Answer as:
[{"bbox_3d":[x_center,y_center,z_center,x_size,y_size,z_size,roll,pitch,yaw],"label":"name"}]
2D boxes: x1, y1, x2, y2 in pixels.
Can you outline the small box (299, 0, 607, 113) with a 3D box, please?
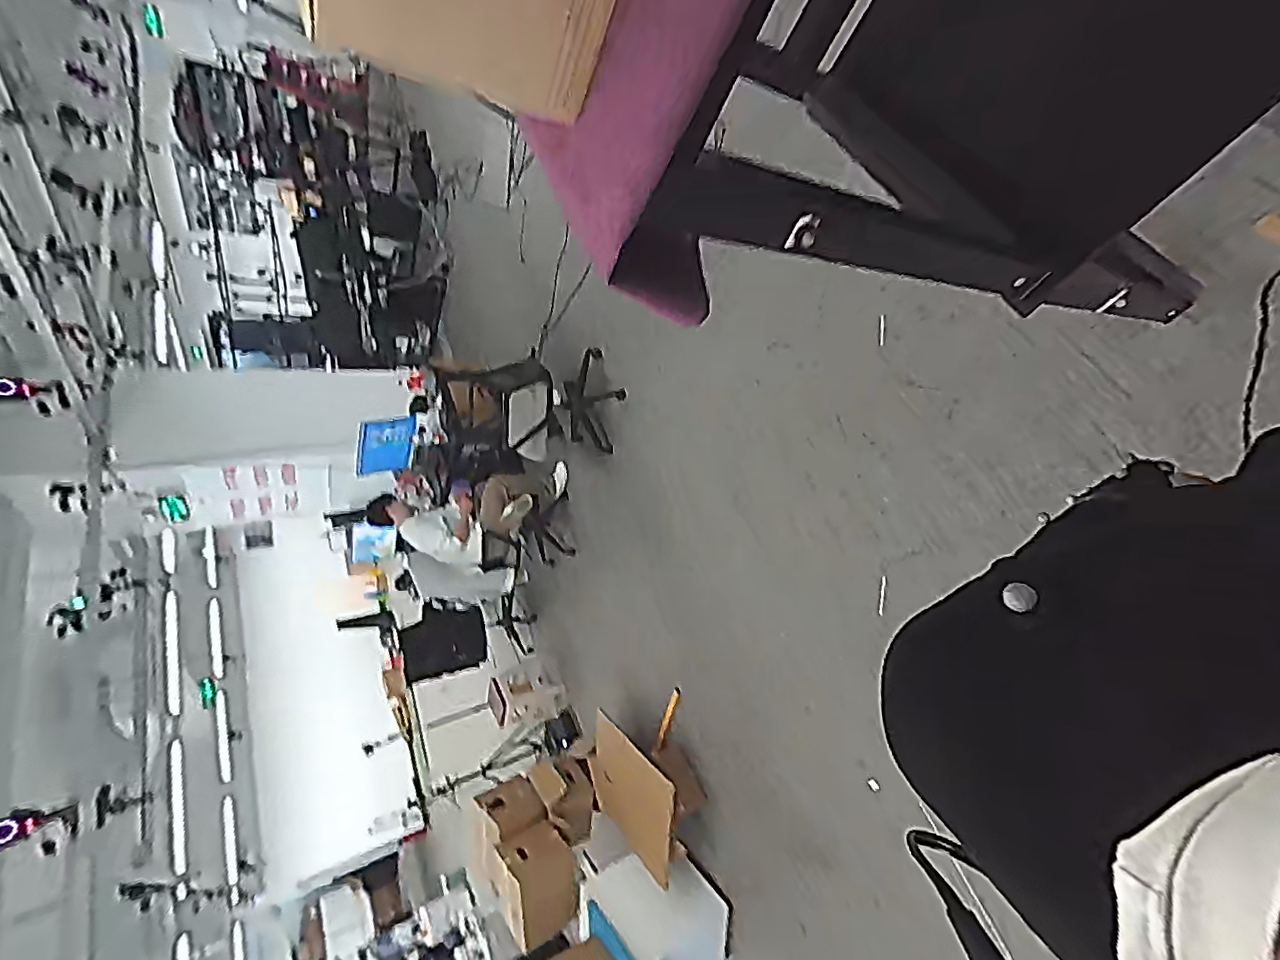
[{"bbox_3d":[-0.109,-0.364,0.316,0.179,0.176,0.168,-56,51,43],"label":"small box"}]
